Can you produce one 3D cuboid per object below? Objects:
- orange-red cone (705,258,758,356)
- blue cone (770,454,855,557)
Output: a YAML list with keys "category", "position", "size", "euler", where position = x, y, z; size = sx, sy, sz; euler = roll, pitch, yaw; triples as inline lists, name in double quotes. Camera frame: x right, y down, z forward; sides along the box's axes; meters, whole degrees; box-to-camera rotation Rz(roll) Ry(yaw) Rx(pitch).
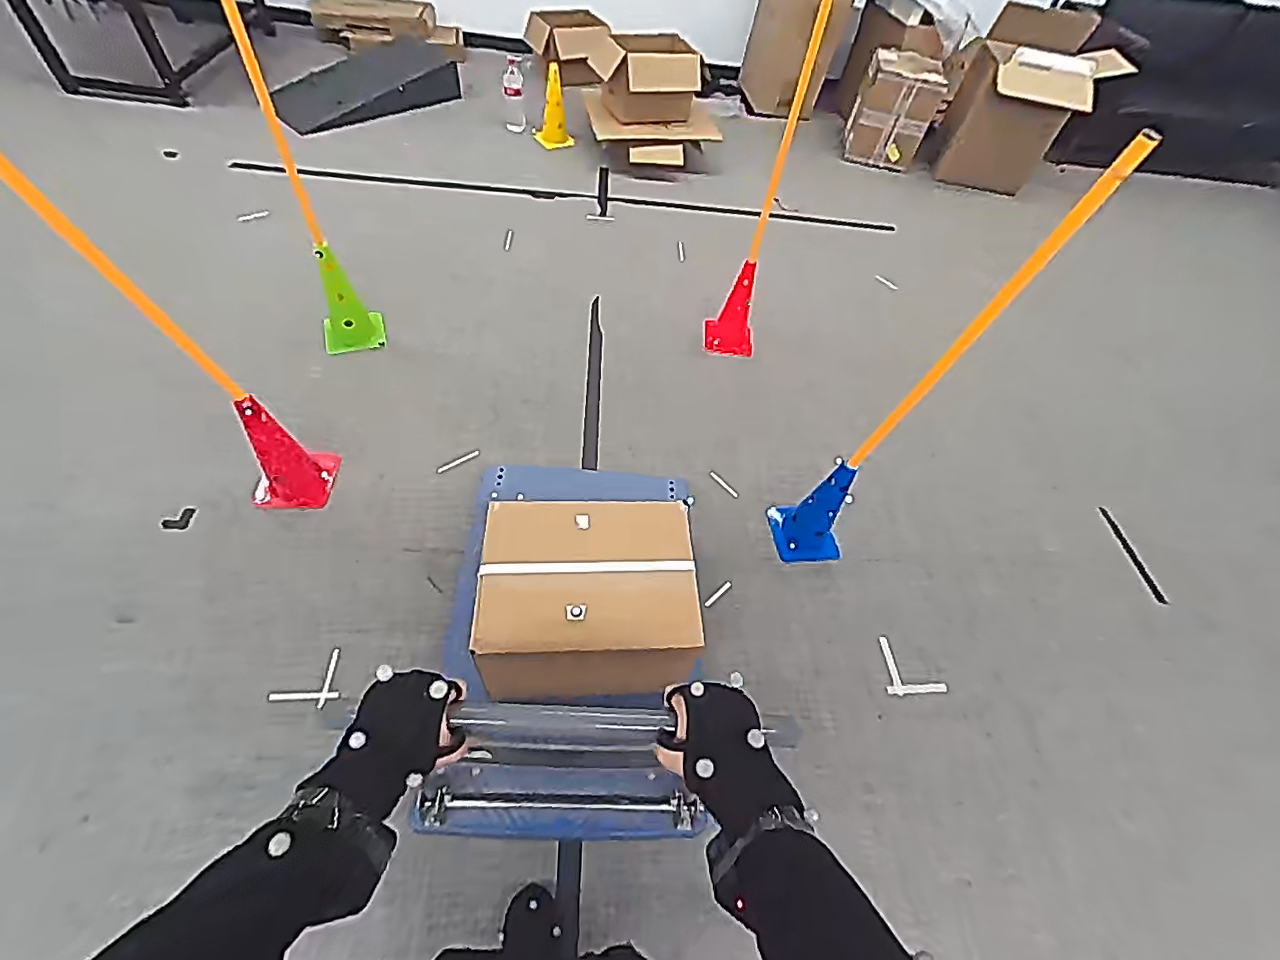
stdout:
- category: "orange-red cone"
  position: [0.389, -0.686, 2.082]
  size: [0.199, 0.360, 0.198]
  euler: [8, 54, -3]
- category: "blue cone"
  position: [0.539, 0.062, 1.585]
  size: [0.193, 0.380, 0.192]
  euler: [-1, 54, -9]
